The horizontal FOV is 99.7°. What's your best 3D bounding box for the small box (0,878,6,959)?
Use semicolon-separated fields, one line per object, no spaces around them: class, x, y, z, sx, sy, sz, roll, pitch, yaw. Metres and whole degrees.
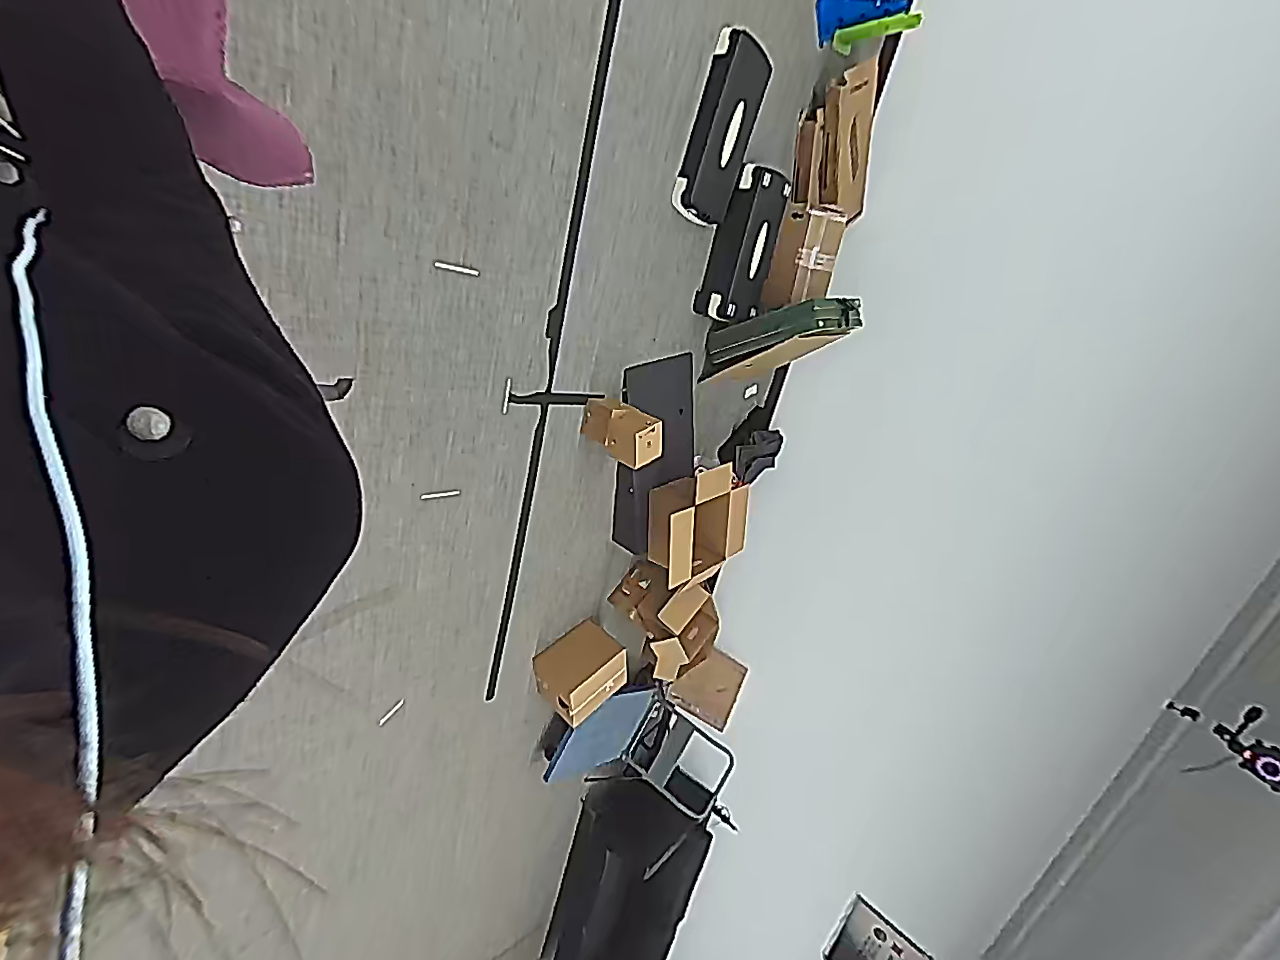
small box;-1.761;1.180;1.378;0.179;0.176;0.168;0;114;-54
